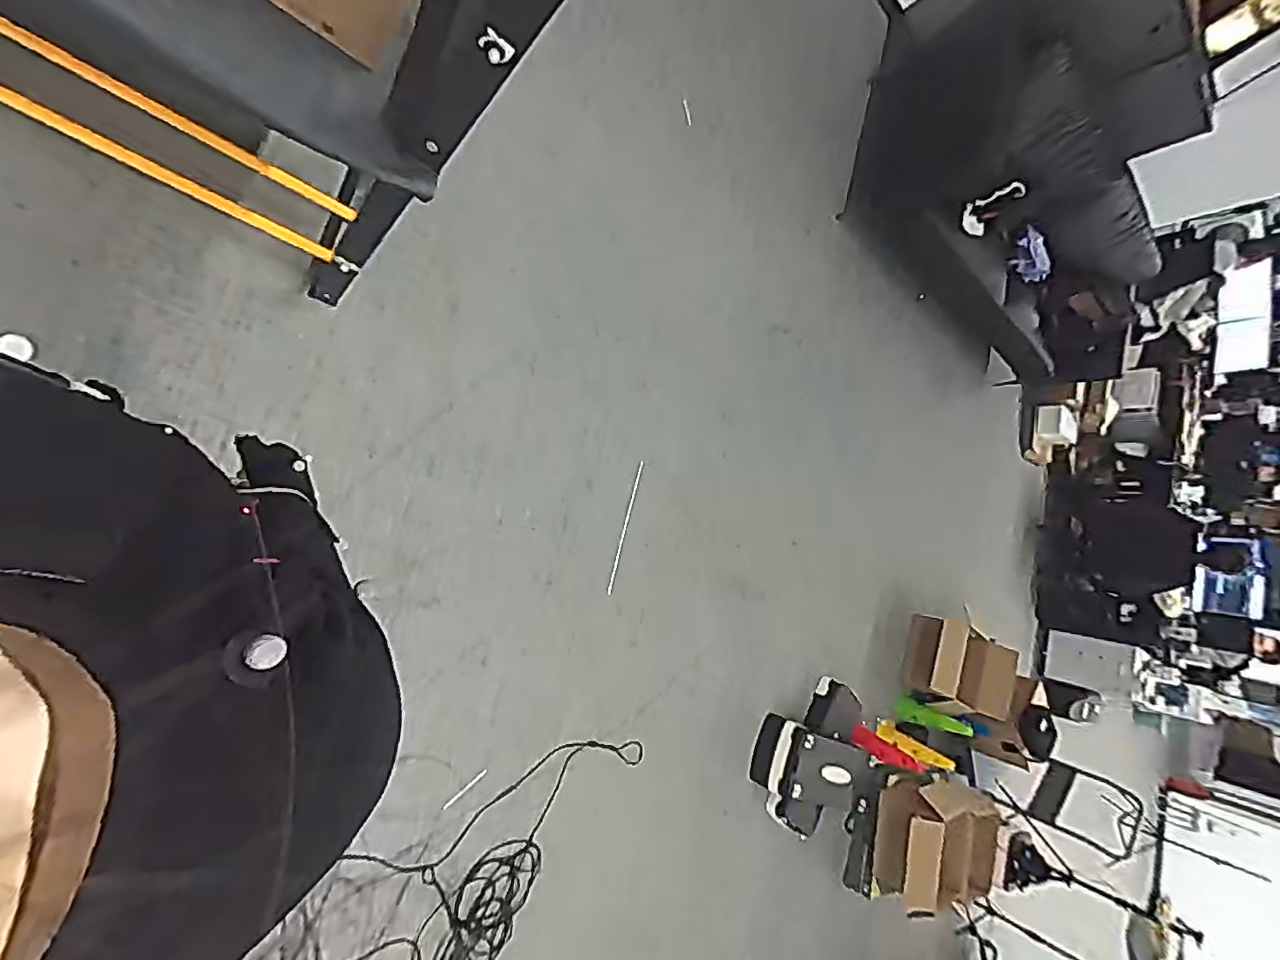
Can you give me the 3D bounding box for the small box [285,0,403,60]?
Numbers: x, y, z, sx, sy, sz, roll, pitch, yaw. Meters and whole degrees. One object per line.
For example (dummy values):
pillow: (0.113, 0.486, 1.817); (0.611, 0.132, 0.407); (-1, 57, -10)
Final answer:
small box: (-0.340, -0.640, 0.609); (0.168, 0.176, 0.179); (20, 78, -37)
